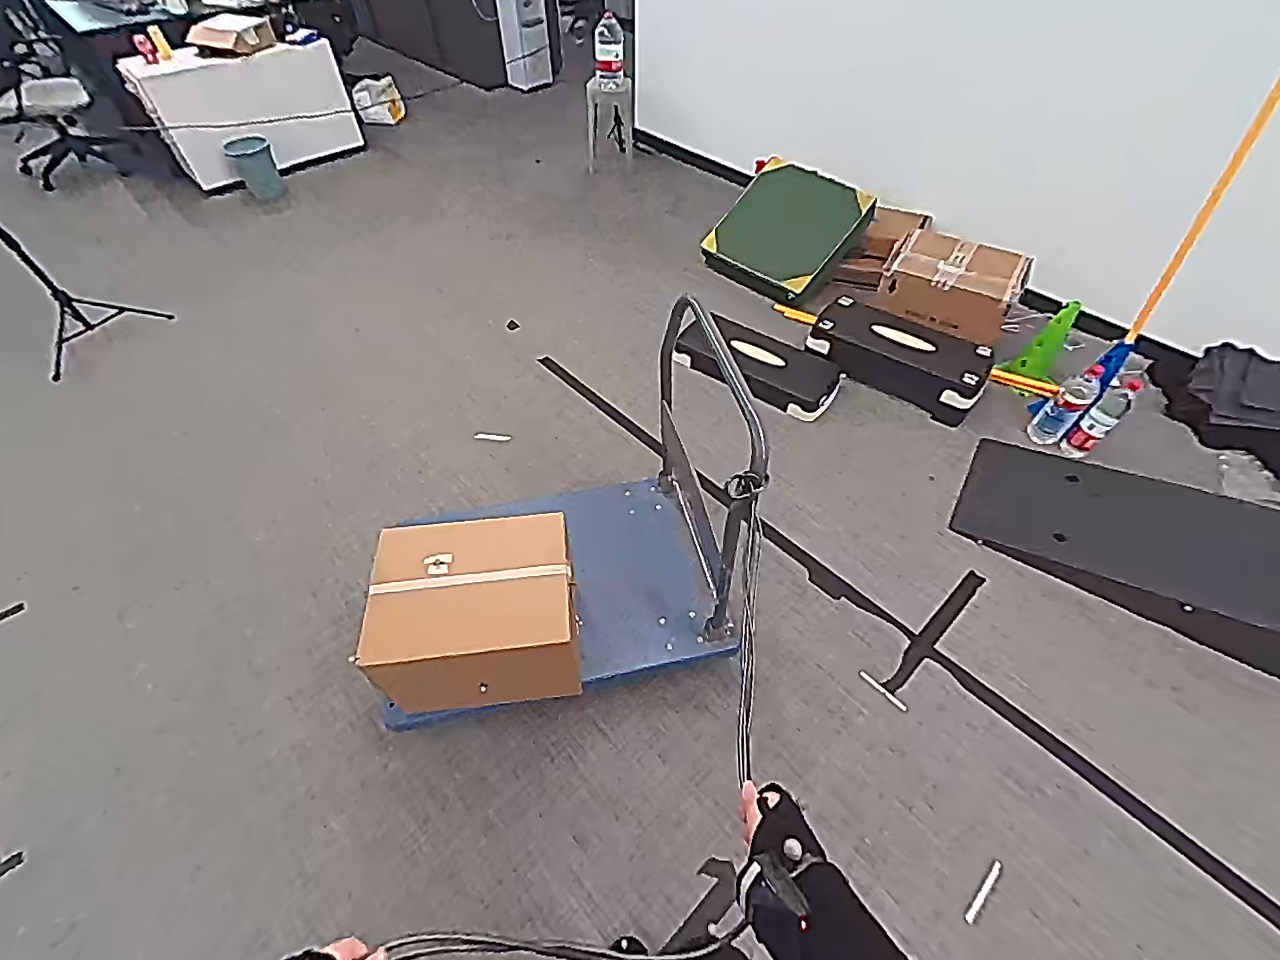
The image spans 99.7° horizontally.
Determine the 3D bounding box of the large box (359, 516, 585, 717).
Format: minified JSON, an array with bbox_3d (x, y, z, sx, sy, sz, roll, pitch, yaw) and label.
[{"bbox_3d":[-0.345,0.313,1.225,0.408,0.320,0.320,-6,50,-5],"label":"large box"}]
